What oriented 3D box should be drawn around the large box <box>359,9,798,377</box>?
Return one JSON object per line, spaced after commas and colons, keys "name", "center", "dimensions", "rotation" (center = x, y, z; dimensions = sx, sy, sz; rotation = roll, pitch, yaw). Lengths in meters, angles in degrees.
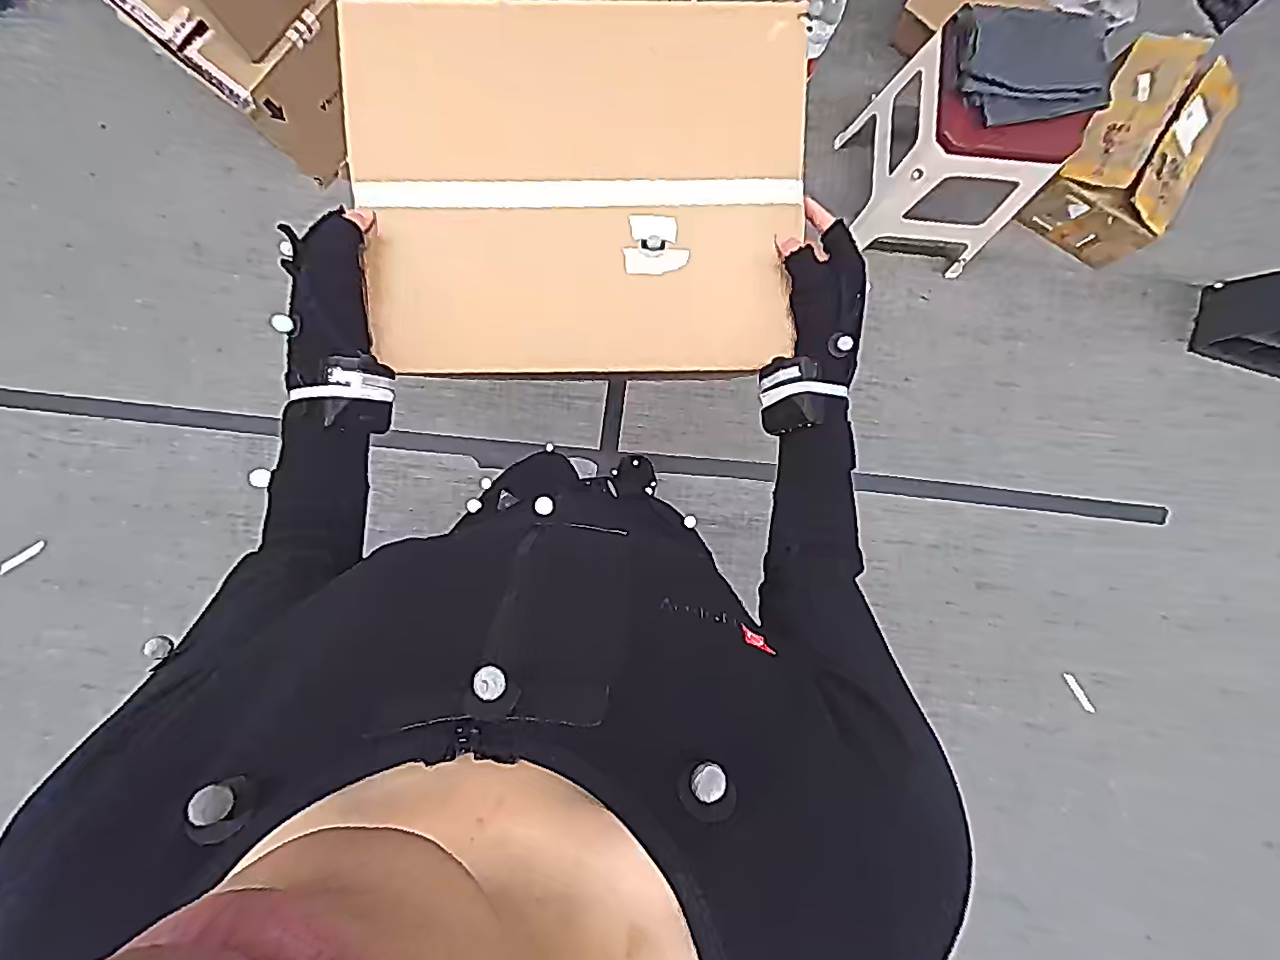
{"name": "large box", "center": [-0.056, -0.294, 0.656], "dimensions": [0.408, 0.320, 0.320], "rotation": [-1, 100, -2]}
